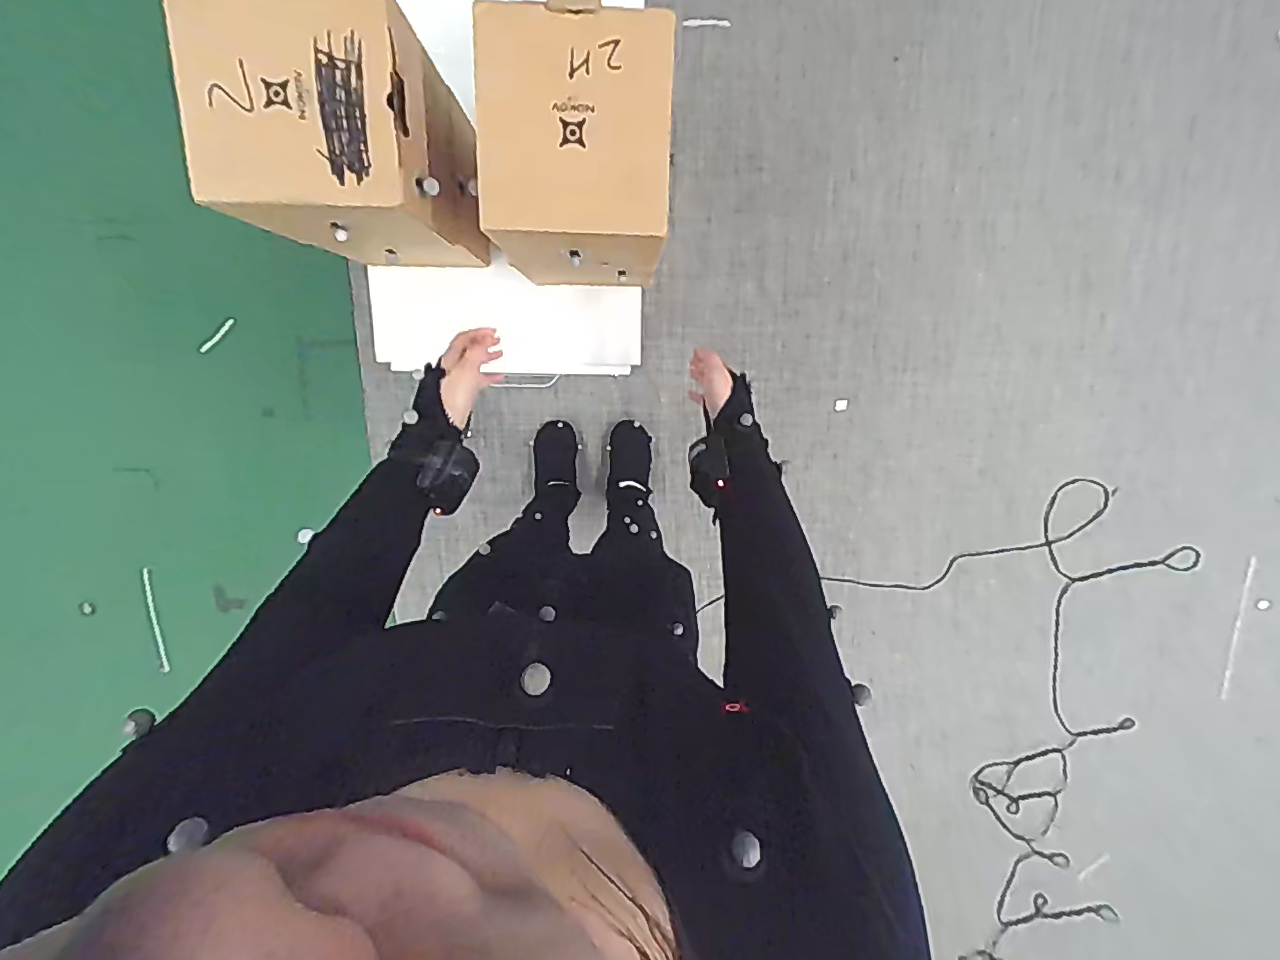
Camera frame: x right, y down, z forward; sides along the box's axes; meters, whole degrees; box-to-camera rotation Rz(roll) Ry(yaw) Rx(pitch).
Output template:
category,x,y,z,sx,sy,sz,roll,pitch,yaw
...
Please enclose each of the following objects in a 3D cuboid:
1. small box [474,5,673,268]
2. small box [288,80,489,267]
category,x,y,z,sx,sy,sz,roll,pitch,yaw
small box,-0.060,-0.315,0.536,0.168,0.176,0.179,1,102,-3
small box,-0.299,-0.369,0.682,0.179,0.176,0.168,-1,103,-4
